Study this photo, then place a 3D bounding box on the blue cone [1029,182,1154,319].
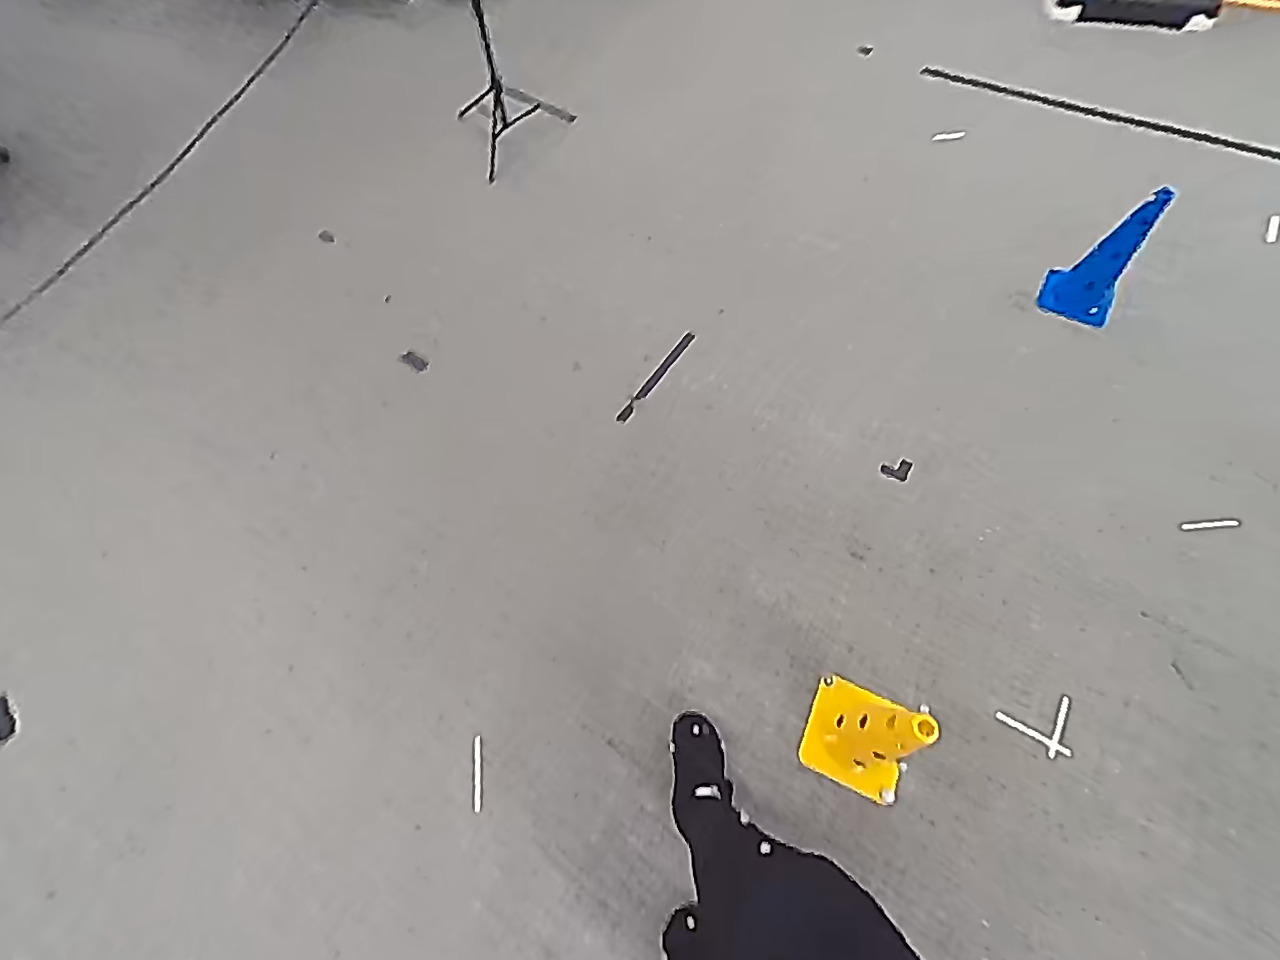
[{"bbox_3d":[1.337,-0.669,1.562,0.192,0.380,0.193,28,67,18],"label":"blue cone"}]
